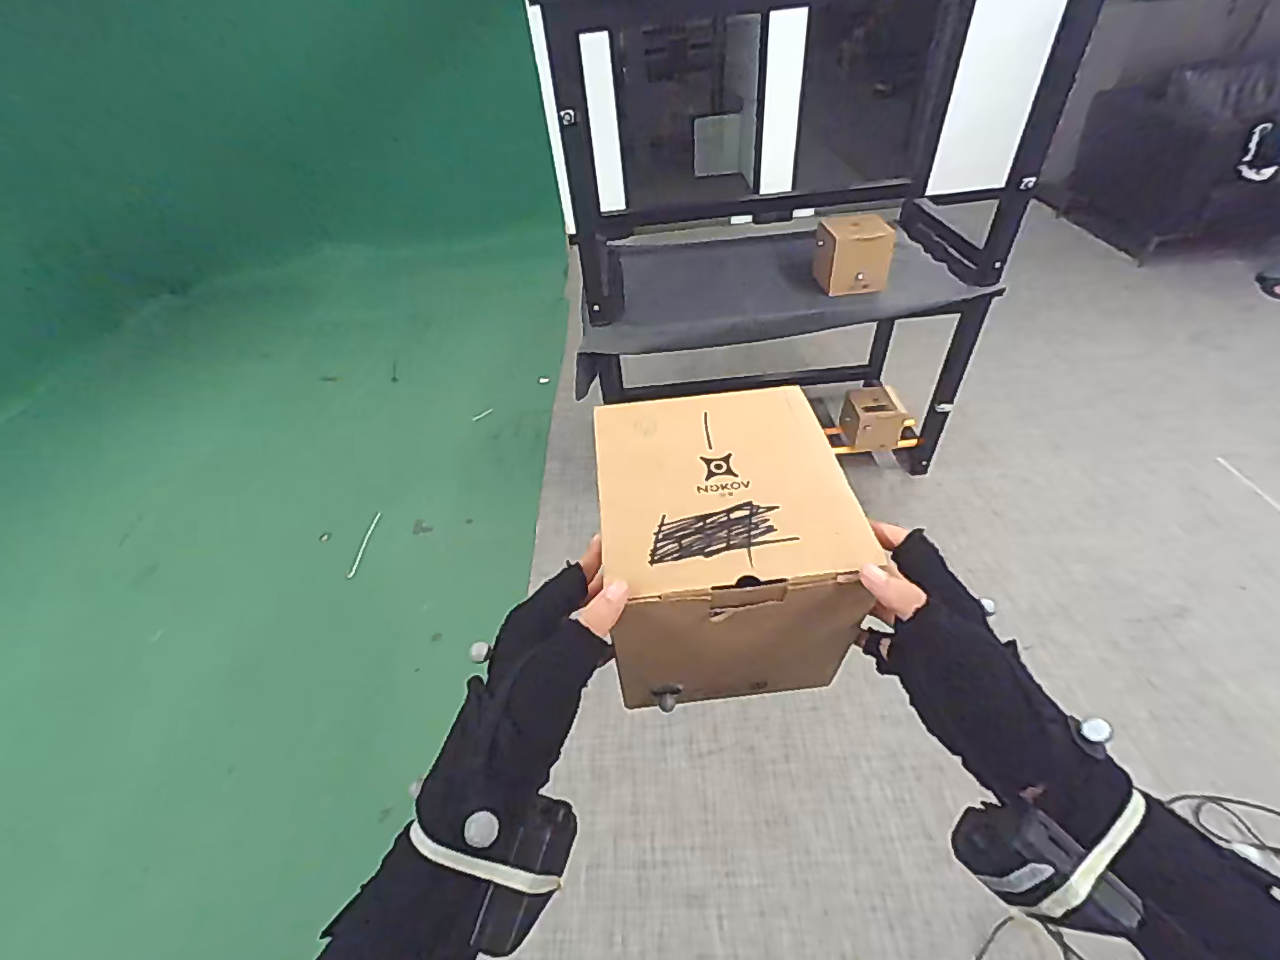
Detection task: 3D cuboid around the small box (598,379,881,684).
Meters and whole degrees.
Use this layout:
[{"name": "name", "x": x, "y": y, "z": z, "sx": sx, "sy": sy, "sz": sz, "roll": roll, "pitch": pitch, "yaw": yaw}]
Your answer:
[{"name": "small box", "x": 0.060, "y": 0.045, "z": 0.427, "sx": 0.168, "sy": 0.176, "sz": 0.179, "roll": -6, "pitch": 46, "yaw": -2}]

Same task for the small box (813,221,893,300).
[{"name": "small box", "x": 0.628, "y": -0.658, "z": 1.623, "sx": 0.168, "sy": 0.176, "sz": 0.179, "roll": -6, "pitch": 42, "yaw": 2}]
